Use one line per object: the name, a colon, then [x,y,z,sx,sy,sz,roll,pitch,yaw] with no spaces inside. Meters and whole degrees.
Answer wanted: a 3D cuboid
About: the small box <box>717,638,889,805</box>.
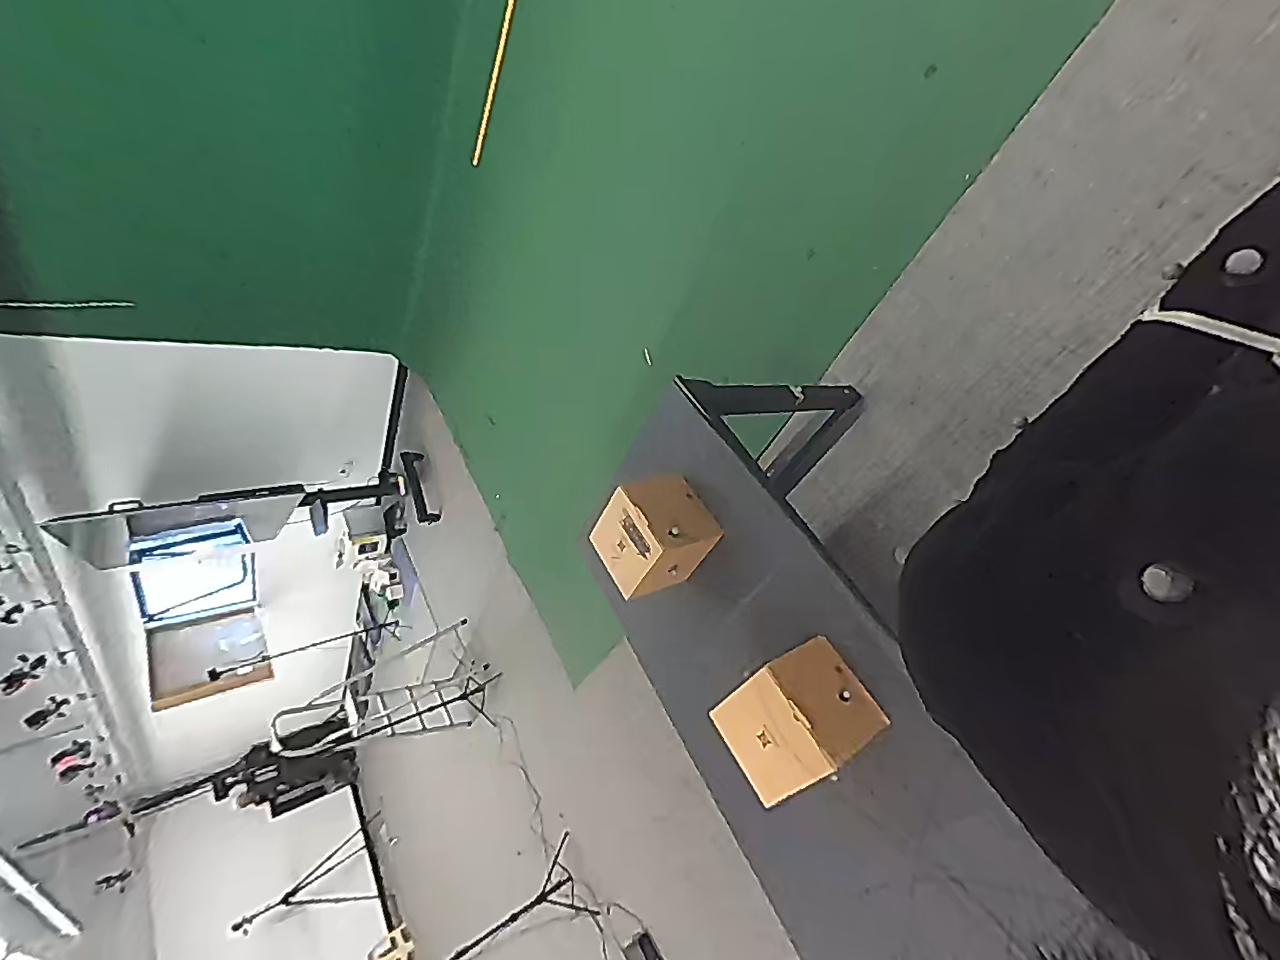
small box: [0.267,0.390,0.890,0.168,0.176,0.179,55,133,29]
